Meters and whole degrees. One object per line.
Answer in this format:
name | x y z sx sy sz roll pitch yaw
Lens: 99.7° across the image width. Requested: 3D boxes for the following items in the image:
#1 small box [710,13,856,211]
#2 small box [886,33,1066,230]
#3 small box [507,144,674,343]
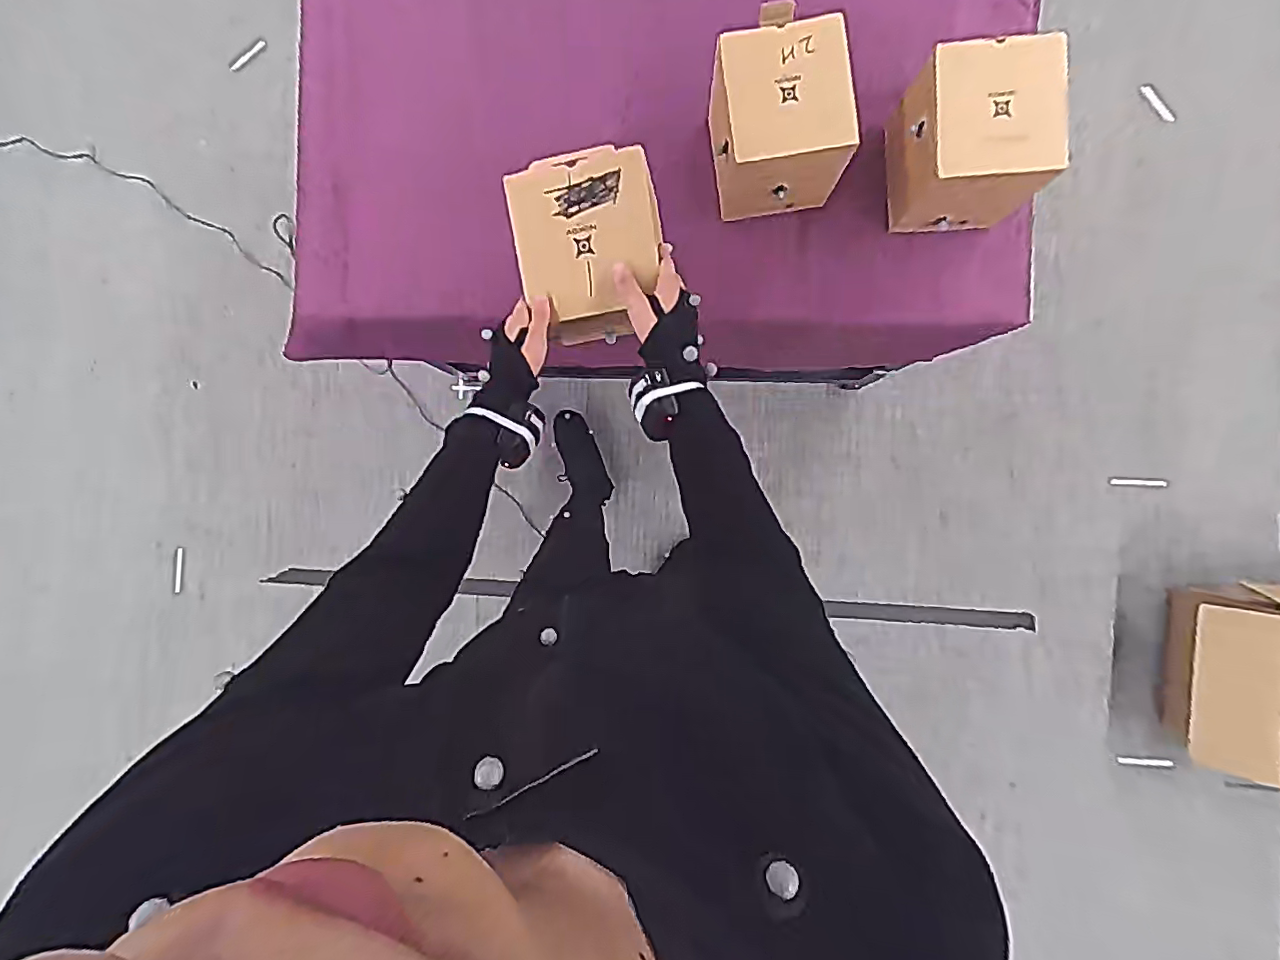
small box | 0.200 -0.520 0.795 0.168 0.176 0.179 -8 89 3
small box | 0.470 -0.490 0.782 0.168 0.176 0.179 -2 90 4
small box | -0.052 -0.288 0.699 0.168 0.176 0.179 -9 96 9
